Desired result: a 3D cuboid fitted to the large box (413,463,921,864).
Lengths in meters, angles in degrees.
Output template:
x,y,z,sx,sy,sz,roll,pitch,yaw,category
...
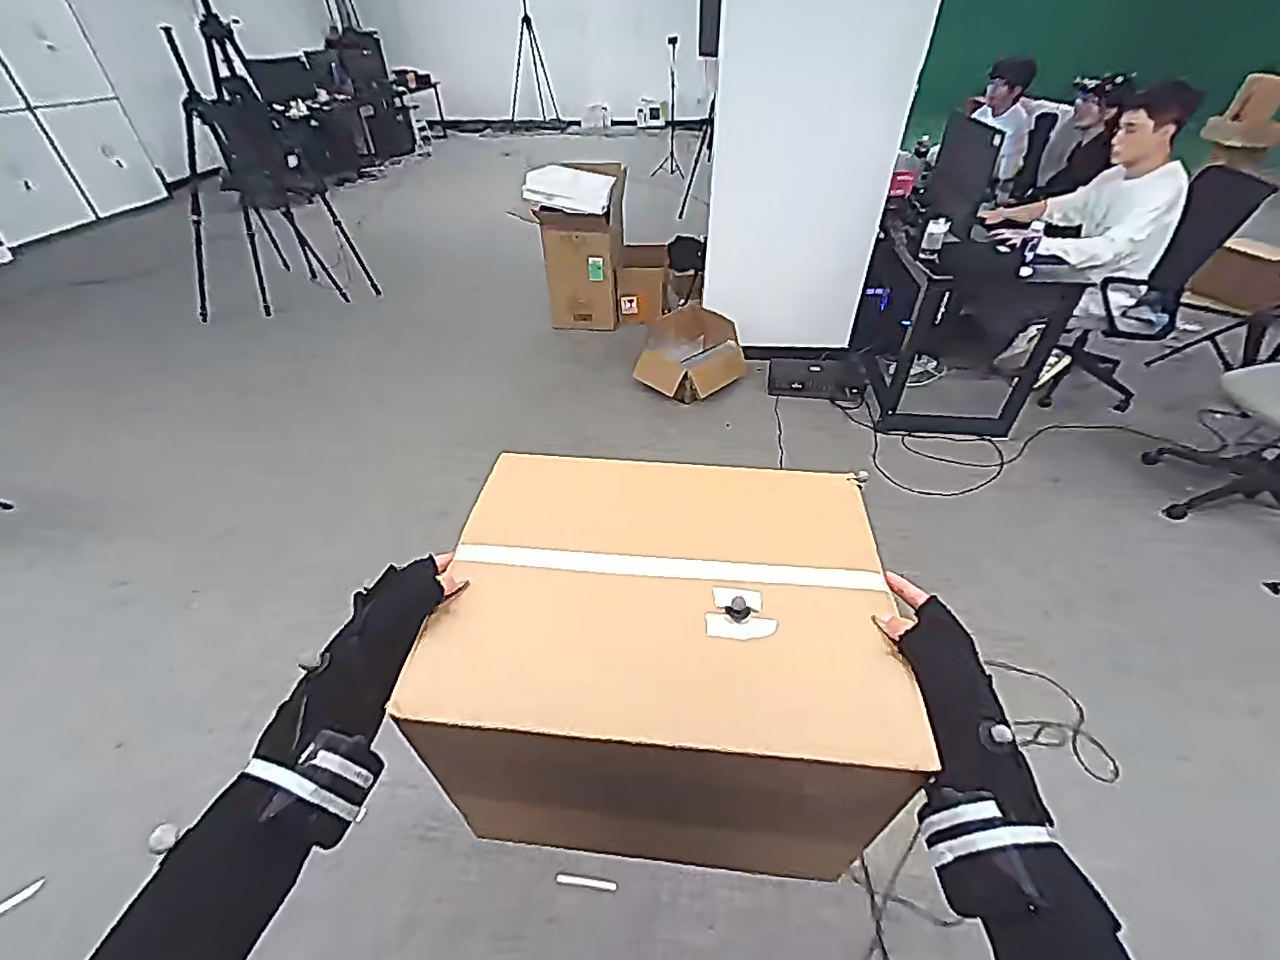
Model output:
x,y,z,sx,sy,sz,roll,pitch,yaw,category
0.027,0.203,0.623,0.408,0.320,0.320,4,43,5,large box
